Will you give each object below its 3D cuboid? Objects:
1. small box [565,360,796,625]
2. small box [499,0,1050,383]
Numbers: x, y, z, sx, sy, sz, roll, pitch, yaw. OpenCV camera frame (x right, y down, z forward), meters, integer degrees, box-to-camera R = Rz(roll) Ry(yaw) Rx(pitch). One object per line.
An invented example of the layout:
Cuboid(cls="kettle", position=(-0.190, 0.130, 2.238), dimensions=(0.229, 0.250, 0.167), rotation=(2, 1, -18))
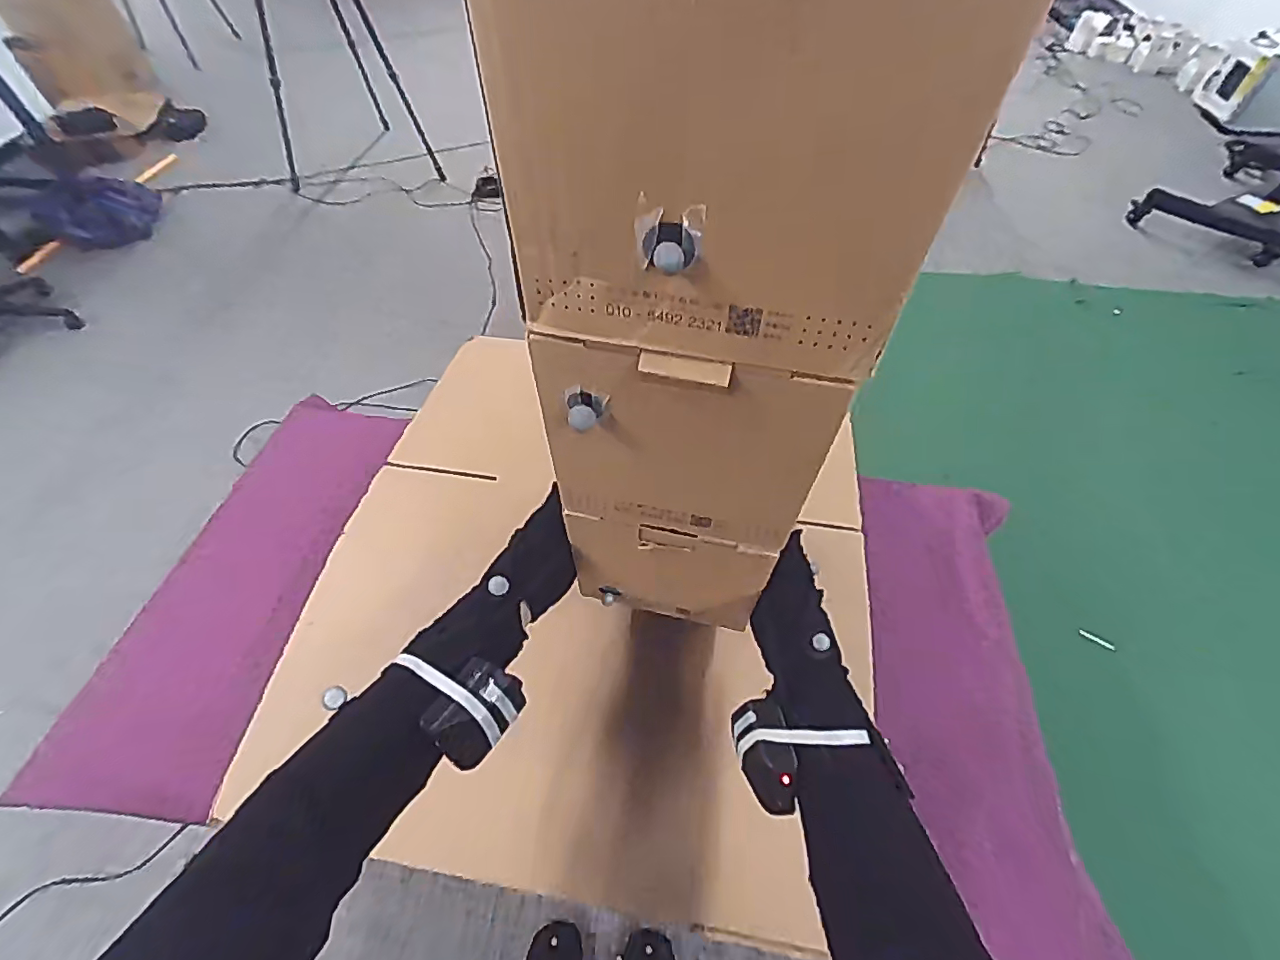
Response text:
Cuboid(cls="small box", position=(0.041, 0.018, 0.514), dimensions=(0.168, 0.176, 0.179), rotation=(11, 56, 7))
Cuboid(cls="small box", position=(0.045, -0.174, 0.248), dimensions=(0.168, 0.176, 0.179), rotation=(10, 56, 6))
